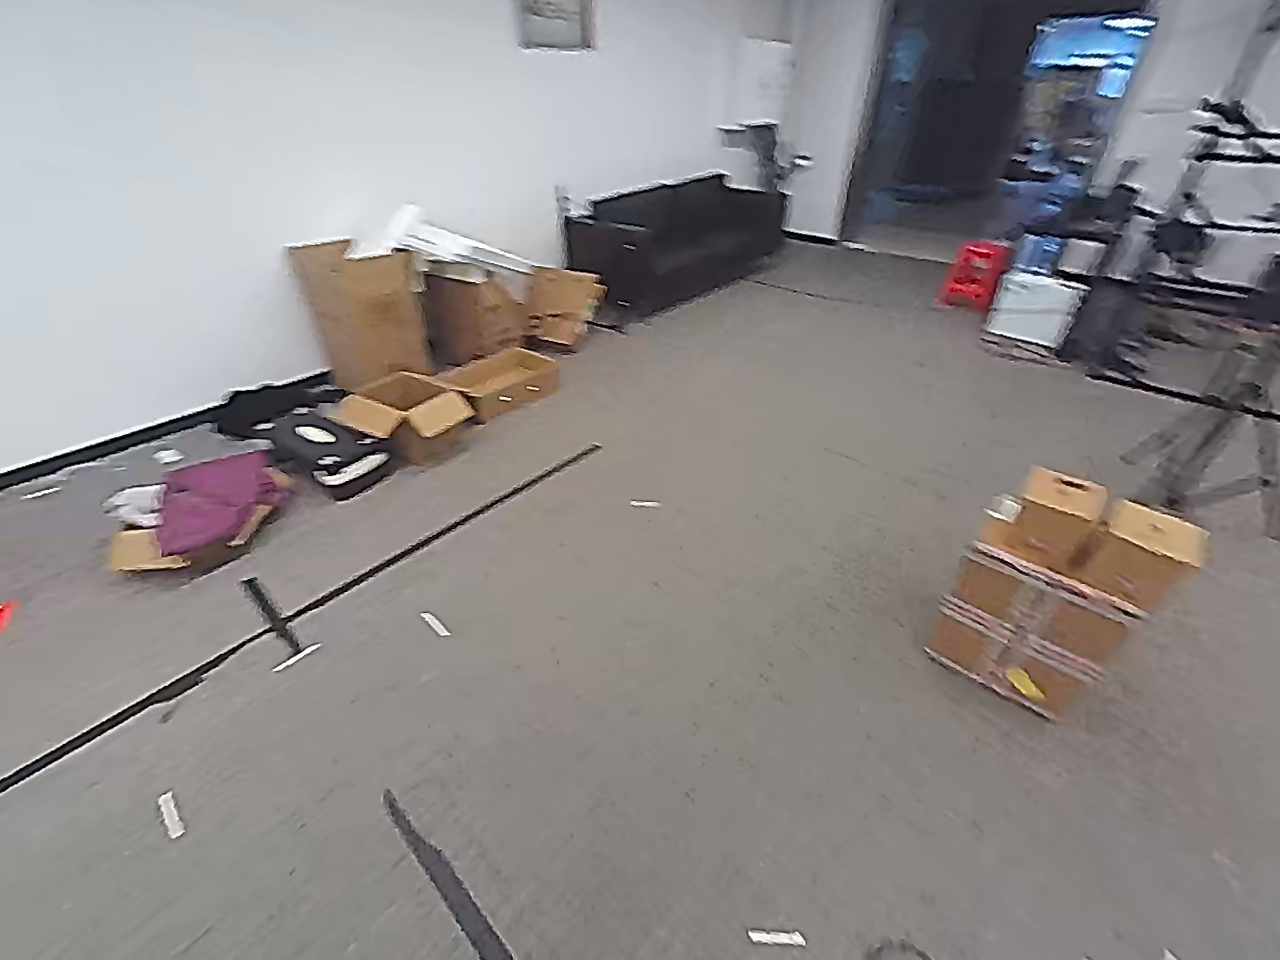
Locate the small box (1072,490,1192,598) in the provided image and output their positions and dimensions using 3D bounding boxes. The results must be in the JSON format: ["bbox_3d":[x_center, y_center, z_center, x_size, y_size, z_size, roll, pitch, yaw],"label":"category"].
[{"bbox_3d":[1.238,0.160,1.367,0.168,0.176,0.179,28,47,32],"label":"small box"}]

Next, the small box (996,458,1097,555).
[{"bbox_3d":[1.114,0.073,1.489,0.168,0.176,0.179,24,47,32],"label":"small box"}]
